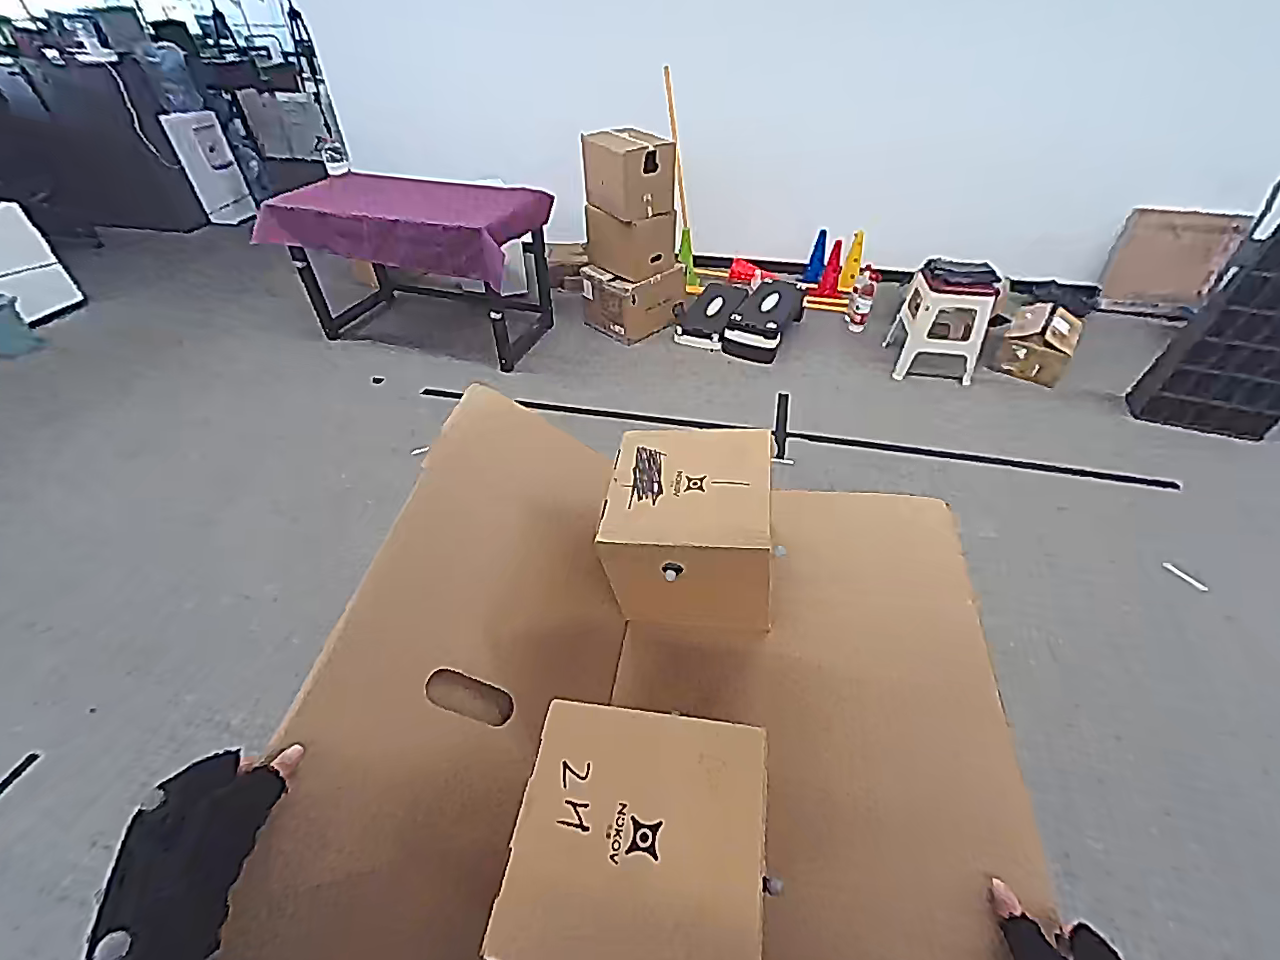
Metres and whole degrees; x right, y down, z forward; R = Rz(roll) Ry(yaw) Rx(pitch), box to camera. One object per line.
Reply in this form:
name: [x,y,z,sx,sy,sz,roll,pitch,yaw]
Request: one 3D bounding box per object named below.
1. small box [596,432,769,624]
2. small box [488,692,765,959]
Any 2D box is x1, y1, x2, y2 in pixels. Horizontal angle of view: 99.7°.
small box: [0.064,0.060,0.653,0.179,0.176,0.168,1,49,13]
small box: [0.010,0.298,0.449,0.179,0.176,0.168,2,49,15]
